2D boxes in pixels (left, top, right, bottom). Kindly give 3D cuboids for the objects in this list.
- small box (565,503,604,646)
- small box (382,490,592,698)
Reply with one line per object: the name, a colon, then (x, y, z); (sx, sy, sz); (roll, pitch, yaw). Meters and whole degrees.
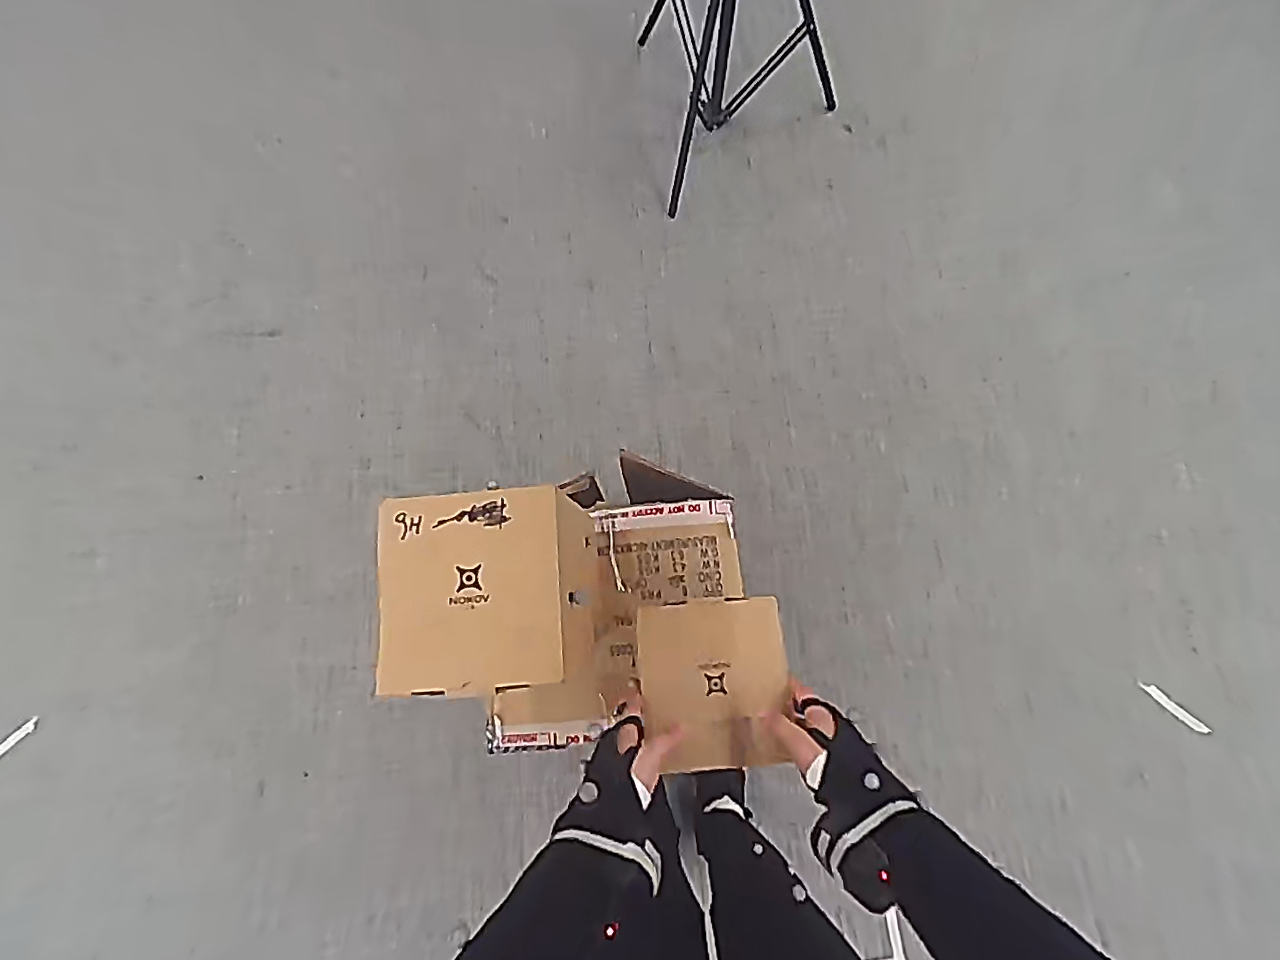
small box: (-0.144, 0.136, 0.726); (0.168, 0.176, 0.179); (-7, 79, 2)
small box: (-0.146, 0.113, 0.563); (0.168, 0.176, 0.179); (-5, 80, 2)
